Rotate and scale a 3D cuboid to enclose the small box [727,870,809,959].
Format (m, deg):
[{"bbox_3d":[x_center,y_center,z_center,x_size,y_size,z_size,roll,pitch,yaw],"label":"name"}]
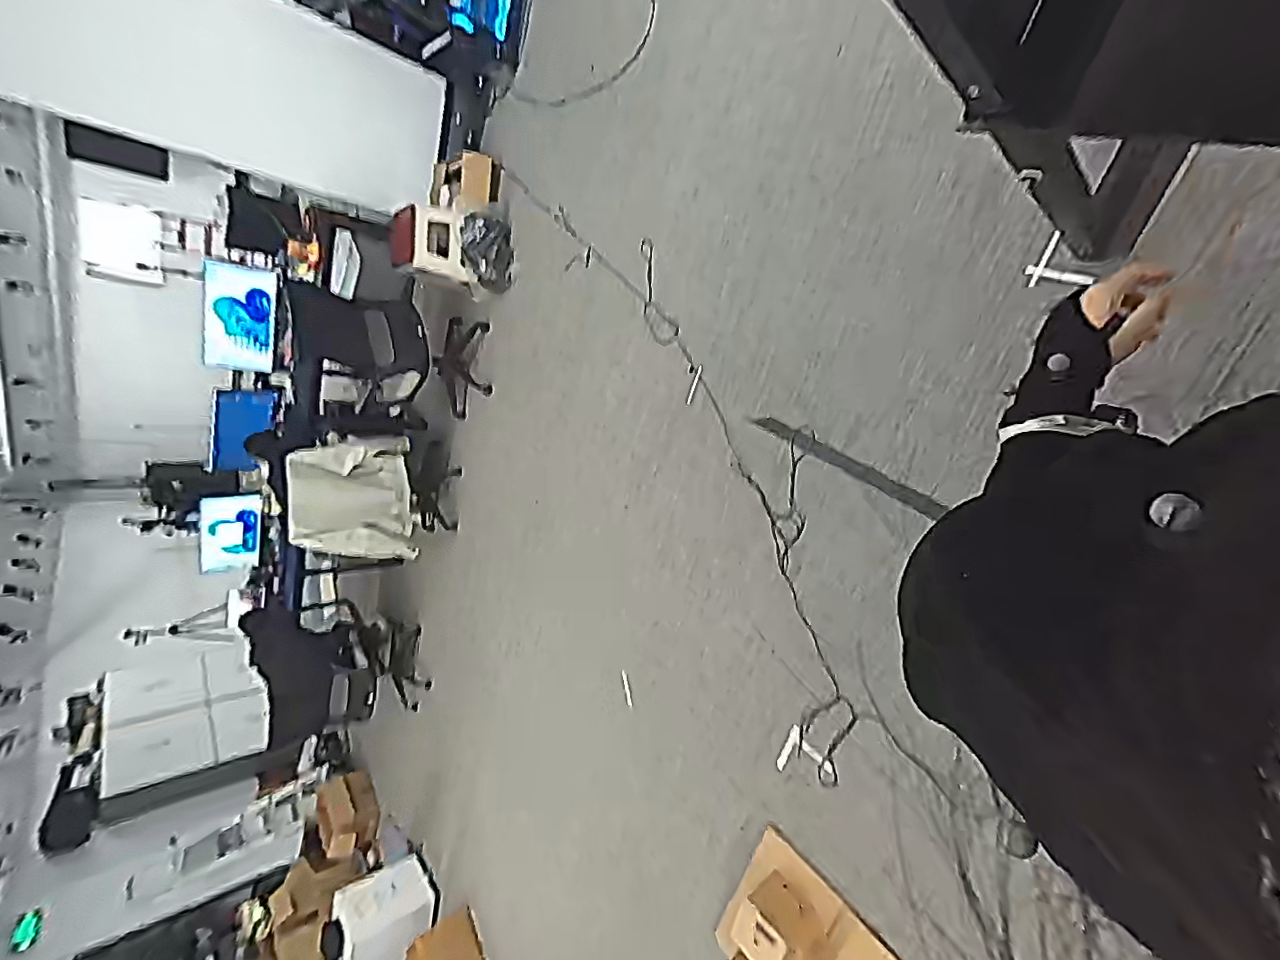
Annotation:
[{"bbox_3d":[0.410,1.400,1.716,0.168,0.176,0.179,30,113,42],"label":"small box"}]
